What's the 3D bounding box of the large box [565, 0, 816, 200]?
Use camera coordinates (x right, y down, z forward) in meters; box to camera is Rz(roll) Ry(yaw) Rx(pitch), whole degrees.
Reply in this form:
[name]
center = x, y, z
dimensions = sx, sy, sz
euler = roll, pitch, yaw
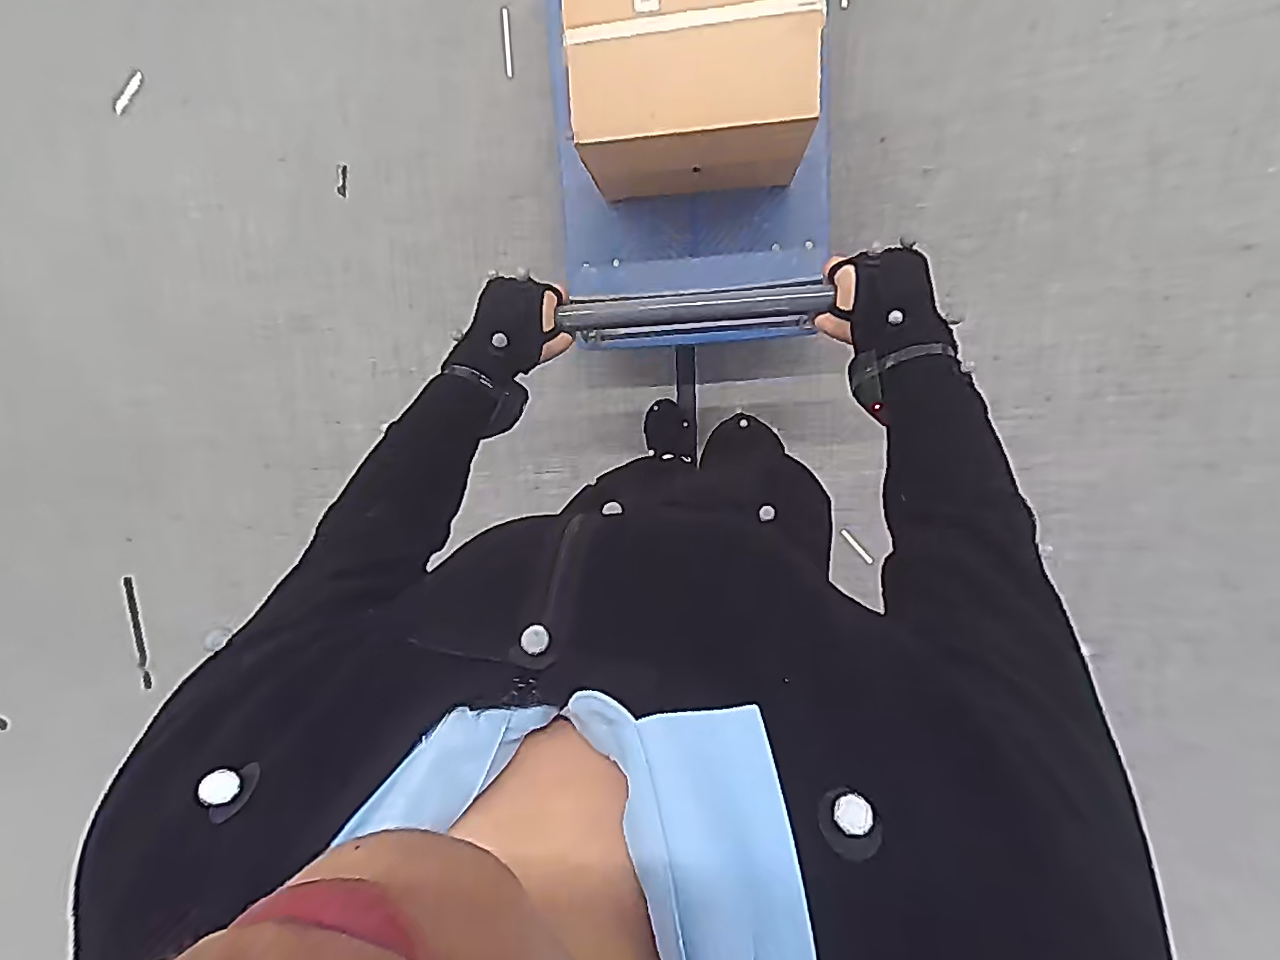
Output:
[large box]
center = 0.098, -0.755, 1.016
dimensions = 0.408, 0.320, 0.320
euler = -2, 99, 8
